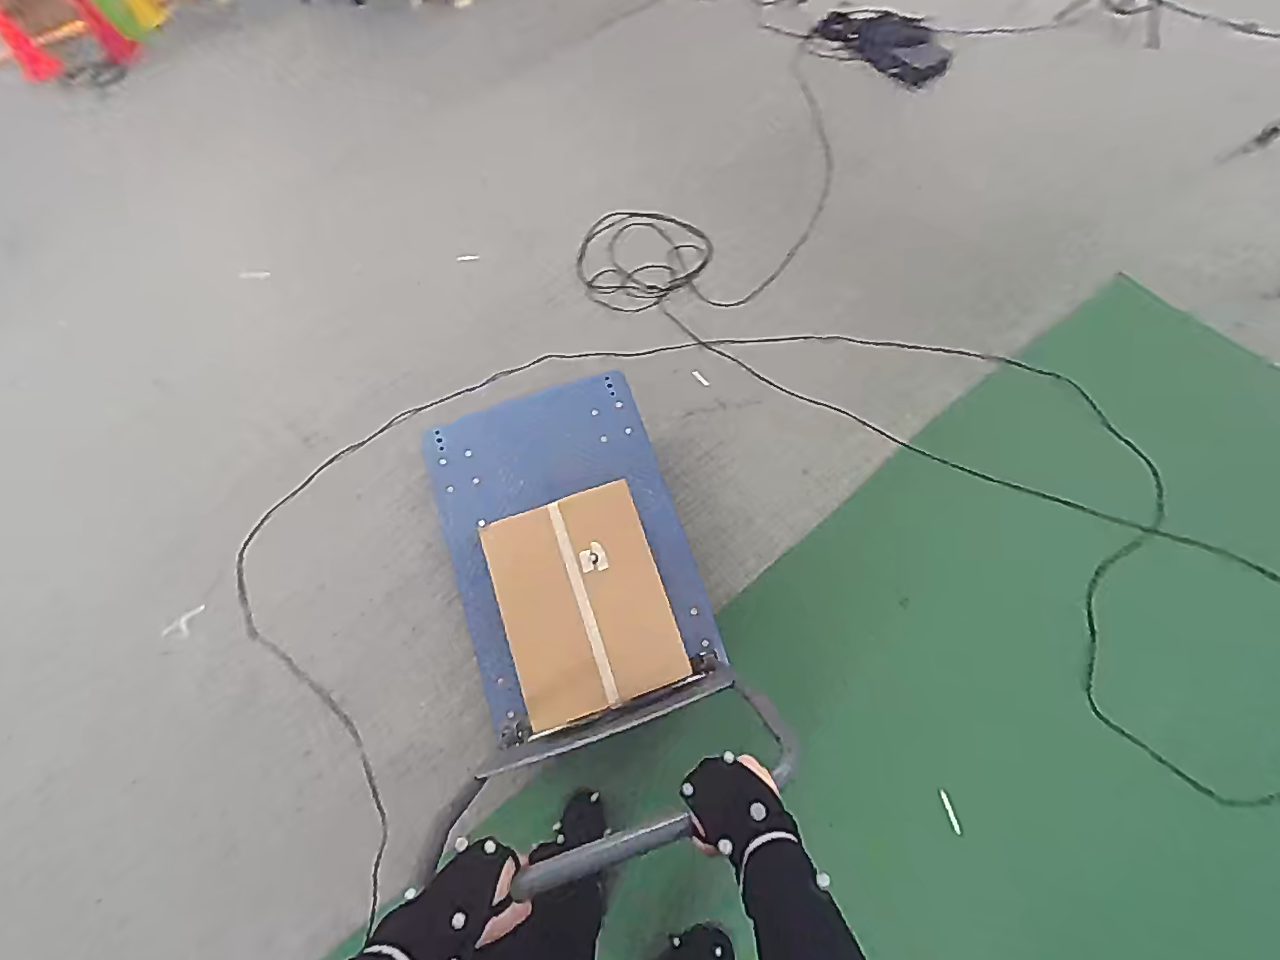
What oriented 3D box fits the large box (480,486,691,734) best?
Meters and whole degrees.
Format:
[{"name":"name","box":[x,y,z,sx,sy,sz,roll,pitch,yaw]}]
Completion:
[{"name":"large box","box":[-0.110,0.280,1.190,0.320,0.320,0.408,-19,75,-6]}]
